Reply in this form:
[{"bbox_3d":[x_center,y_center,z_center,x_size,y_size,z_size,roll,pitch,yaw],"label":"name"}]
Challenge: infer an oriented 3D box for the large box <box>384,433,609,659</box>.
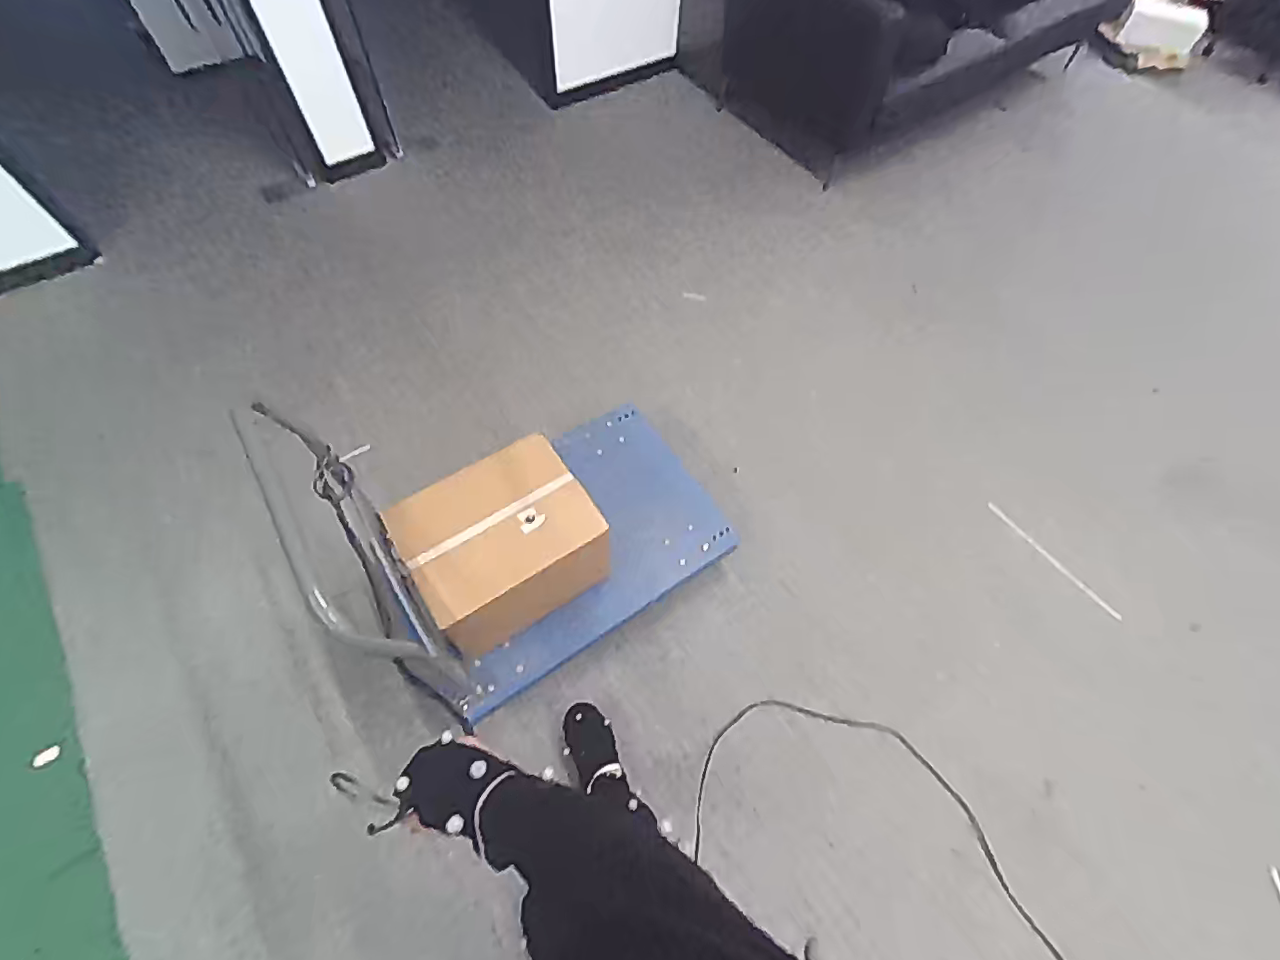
[{"bbox_3d":[-0.321,0.164,1.306,0.408,0.320,0.320,-30,67,-19],"label":"large box"}]
